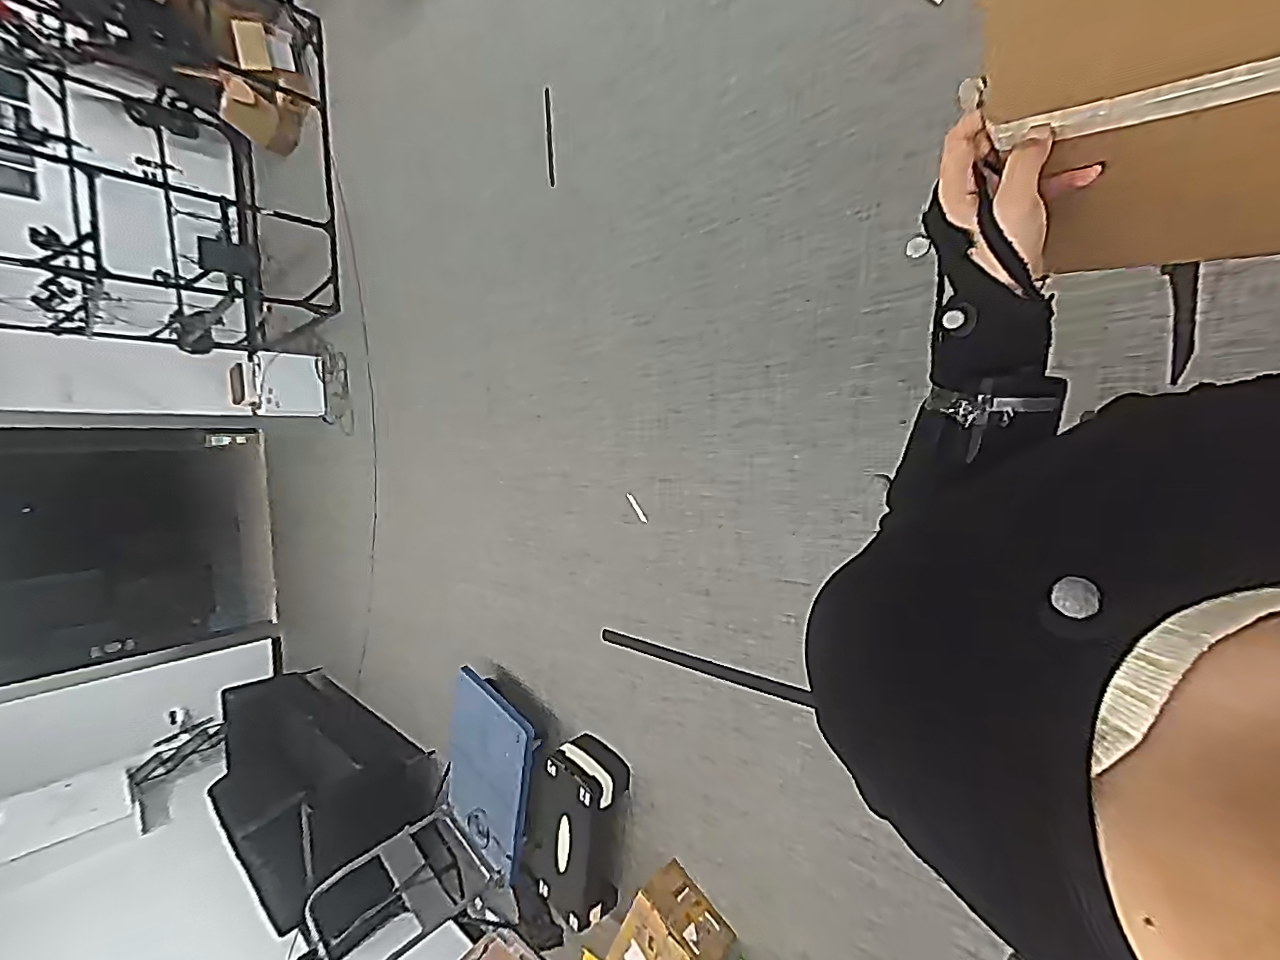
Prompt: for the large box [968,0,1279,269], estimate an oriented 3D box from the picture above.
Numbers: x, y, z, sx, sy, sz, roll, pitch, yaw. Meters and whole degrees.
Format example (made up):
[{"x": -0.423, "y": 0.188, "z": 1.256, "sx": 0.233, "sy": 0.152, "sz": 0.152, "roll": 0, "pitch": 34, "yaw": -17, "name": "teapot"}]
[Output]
[{"x": 0.410, "y": -0.339, "z": 0.230, "sx": 0.408, "sy": 0.320, "sz": 0.320, "roll": 10, "pitch": 80, "yaw": 42, "name": "large box"}]
